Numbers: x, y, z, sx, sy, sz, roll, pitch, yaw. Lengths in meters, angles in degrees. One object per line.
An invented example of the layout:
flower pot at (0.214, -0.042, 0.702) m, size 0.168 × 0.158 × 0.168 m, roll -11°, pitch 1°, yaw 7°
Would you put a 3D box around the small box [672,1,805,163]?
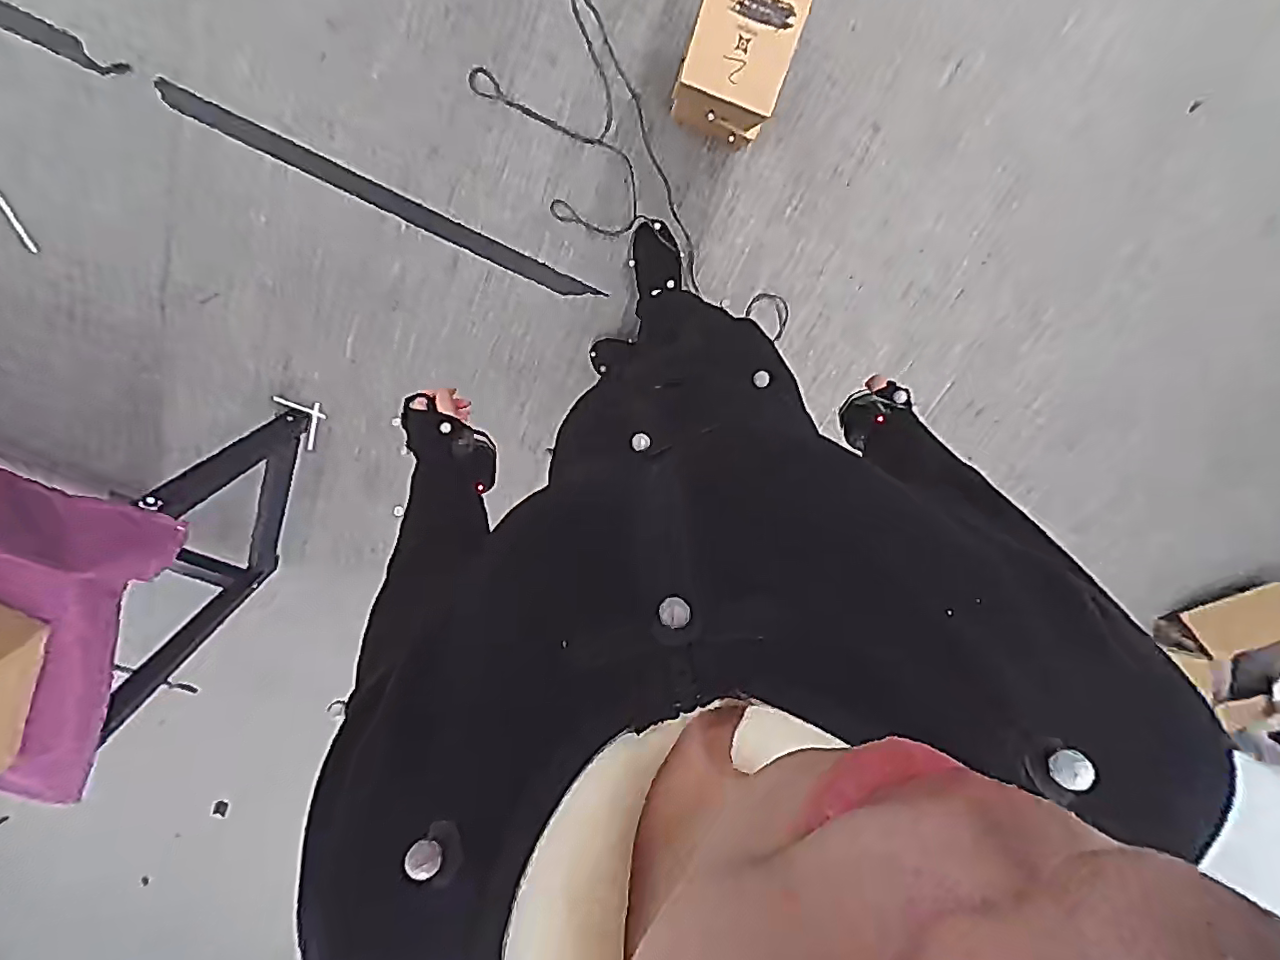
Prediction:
small box at (0.190, -0.768, 1.062) m, size 0.168 × 0.176 × 0.179 m, roll 12°, pitch 99°, yaw -27°
